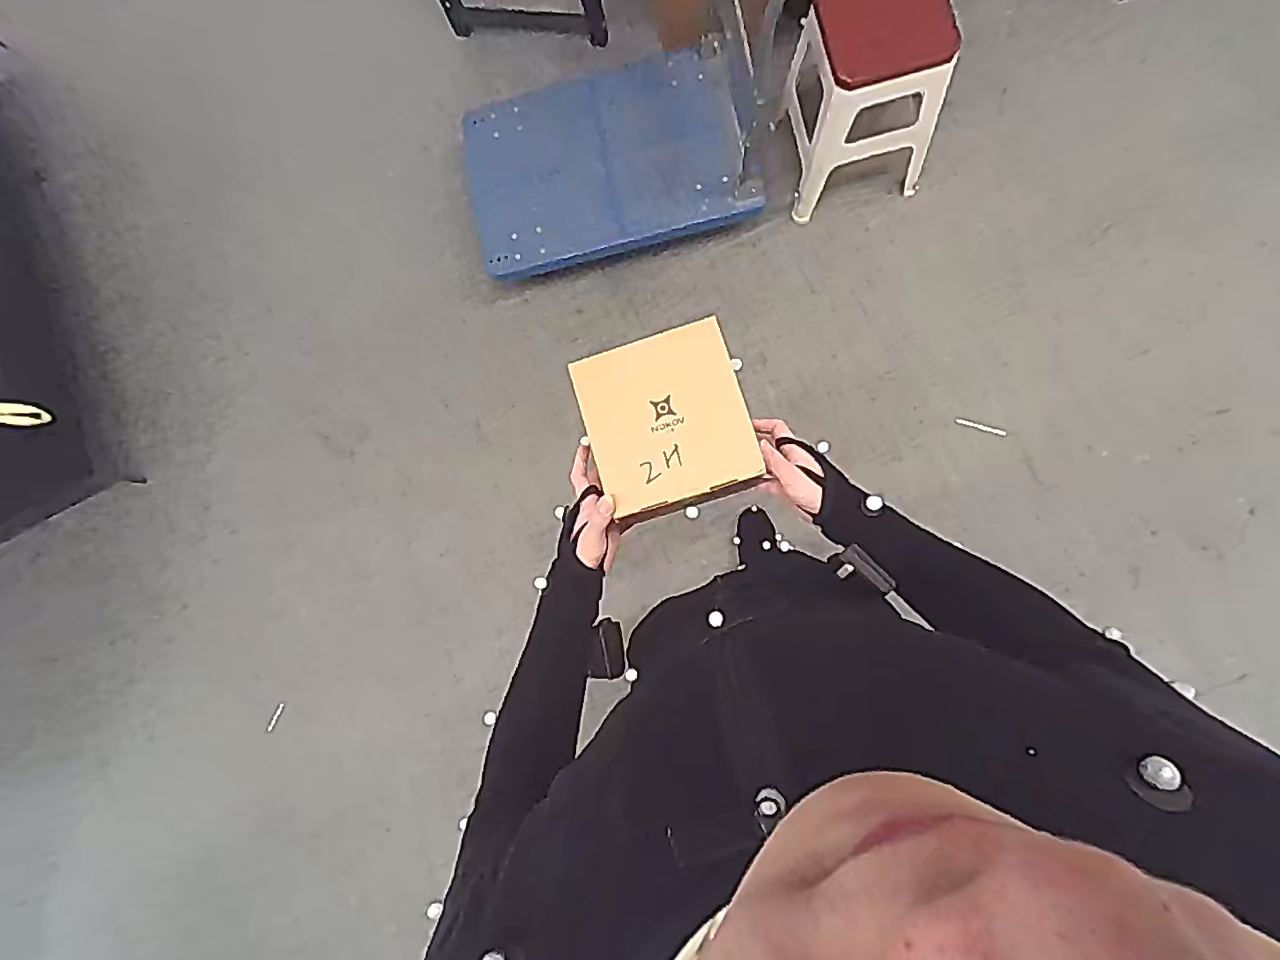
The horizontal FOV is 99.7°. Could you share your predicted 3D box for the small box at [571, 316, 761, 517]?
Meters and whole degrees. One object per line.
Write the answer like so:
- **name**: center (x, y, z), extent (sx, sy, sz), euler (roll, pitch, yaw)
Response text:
- **small box**: center (0.031, -0.062, 0.645), extent (0.168, 0.176, 0.179), euler (-17, 82, 4)
